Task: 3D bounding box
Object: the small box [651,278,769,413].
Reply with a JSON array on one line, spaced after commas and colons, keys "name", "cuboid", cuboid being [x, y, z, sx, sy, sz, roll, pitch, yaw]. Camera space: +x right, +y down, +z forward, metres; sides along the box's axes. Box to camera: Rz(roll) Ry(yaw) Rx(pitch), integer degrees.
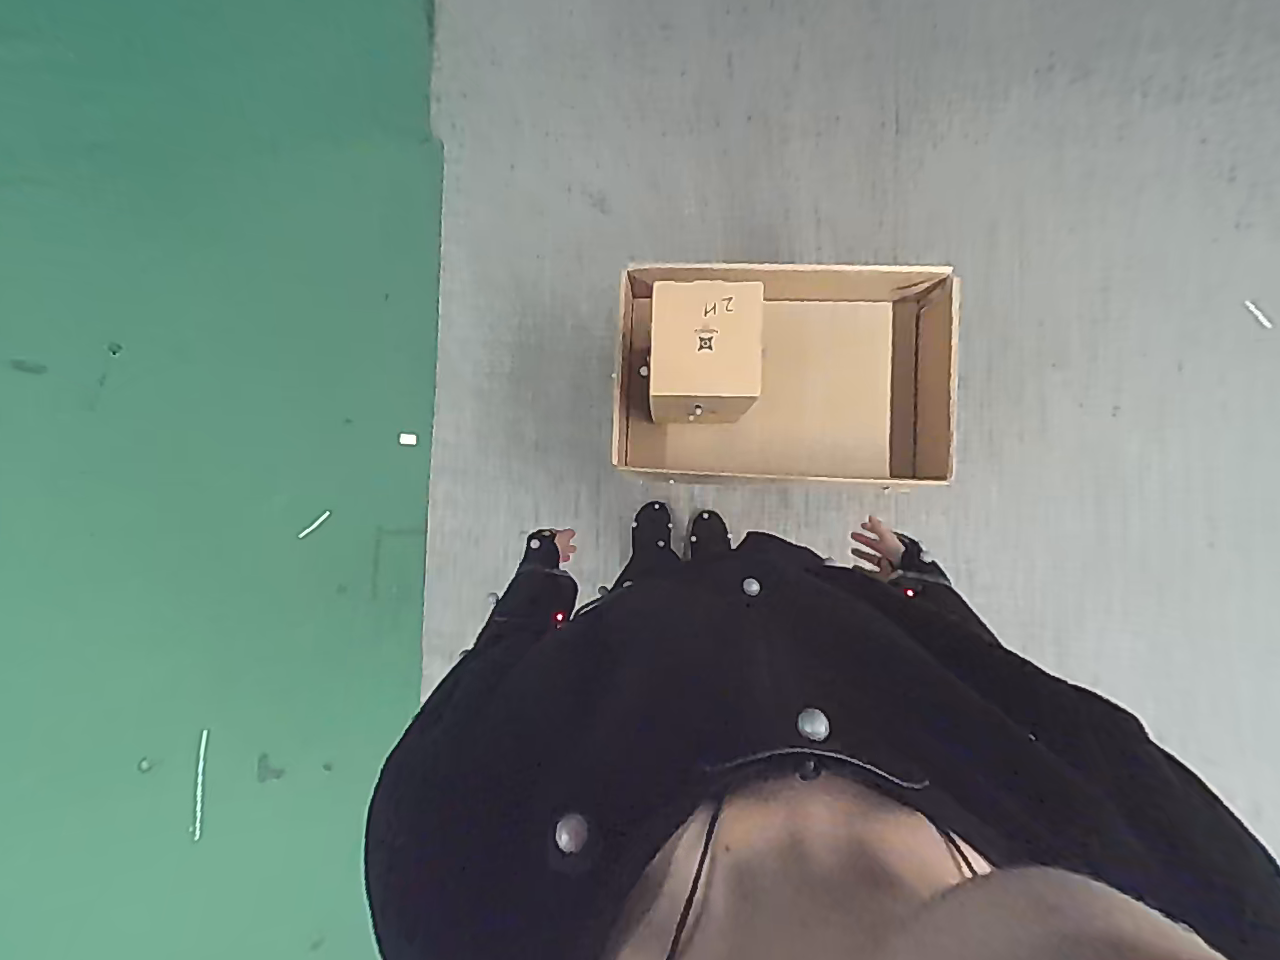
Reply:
[{"name": "small box", "cuboid": [0.109, -0.206, 0.868, 0.168, 0.176, 0.179, 2, 87, 4]}]
